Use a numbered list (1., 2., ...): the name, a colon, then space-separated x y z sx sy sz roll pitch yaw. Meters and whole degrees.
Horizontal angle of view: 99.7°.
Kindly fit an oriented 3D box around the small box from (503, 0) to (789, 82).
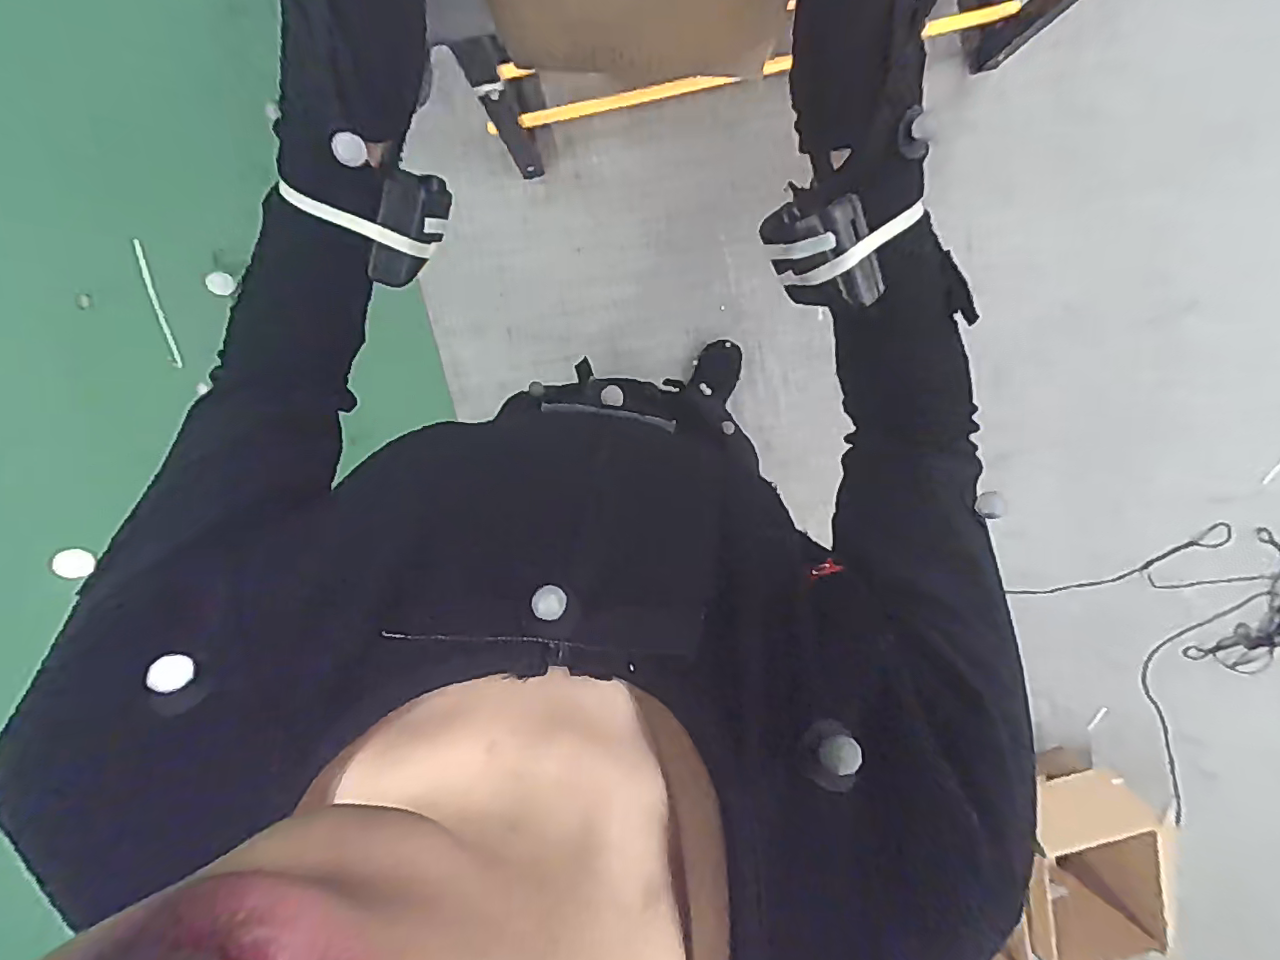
1. small box: 0.005 -0.350 0.291 0.179 0.176 0.168 2 100 0
